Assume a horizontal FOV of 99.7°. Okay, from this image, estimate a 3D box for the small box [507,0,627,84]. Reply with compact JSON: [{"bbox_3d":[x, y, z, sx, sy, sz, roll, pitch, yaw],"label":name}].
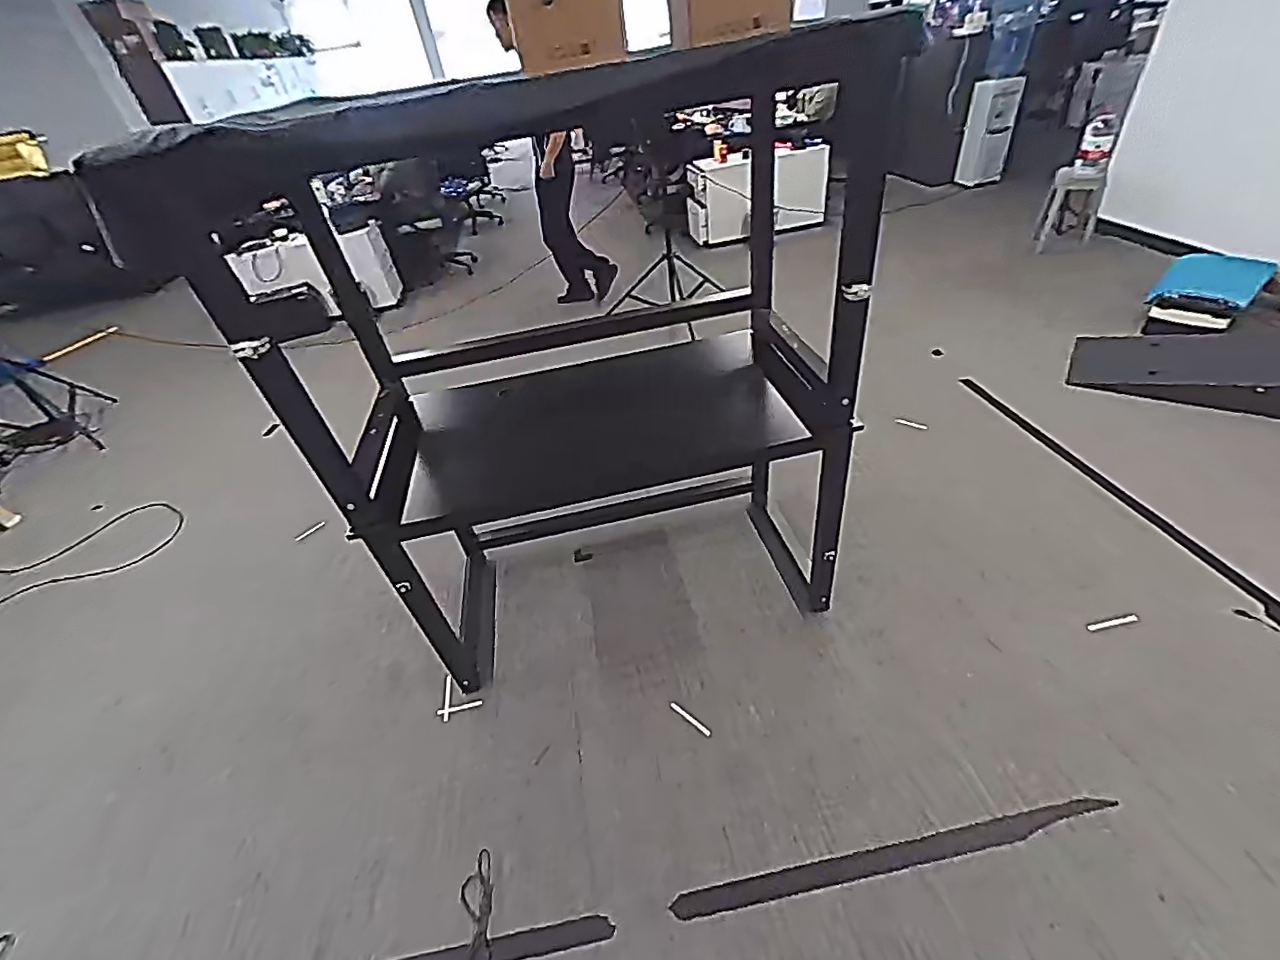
[{"bbox_3d":[-0.118,-0.747,0.859,0.168,0.176,0.179,-10,38,0],"label":"small box"}]
